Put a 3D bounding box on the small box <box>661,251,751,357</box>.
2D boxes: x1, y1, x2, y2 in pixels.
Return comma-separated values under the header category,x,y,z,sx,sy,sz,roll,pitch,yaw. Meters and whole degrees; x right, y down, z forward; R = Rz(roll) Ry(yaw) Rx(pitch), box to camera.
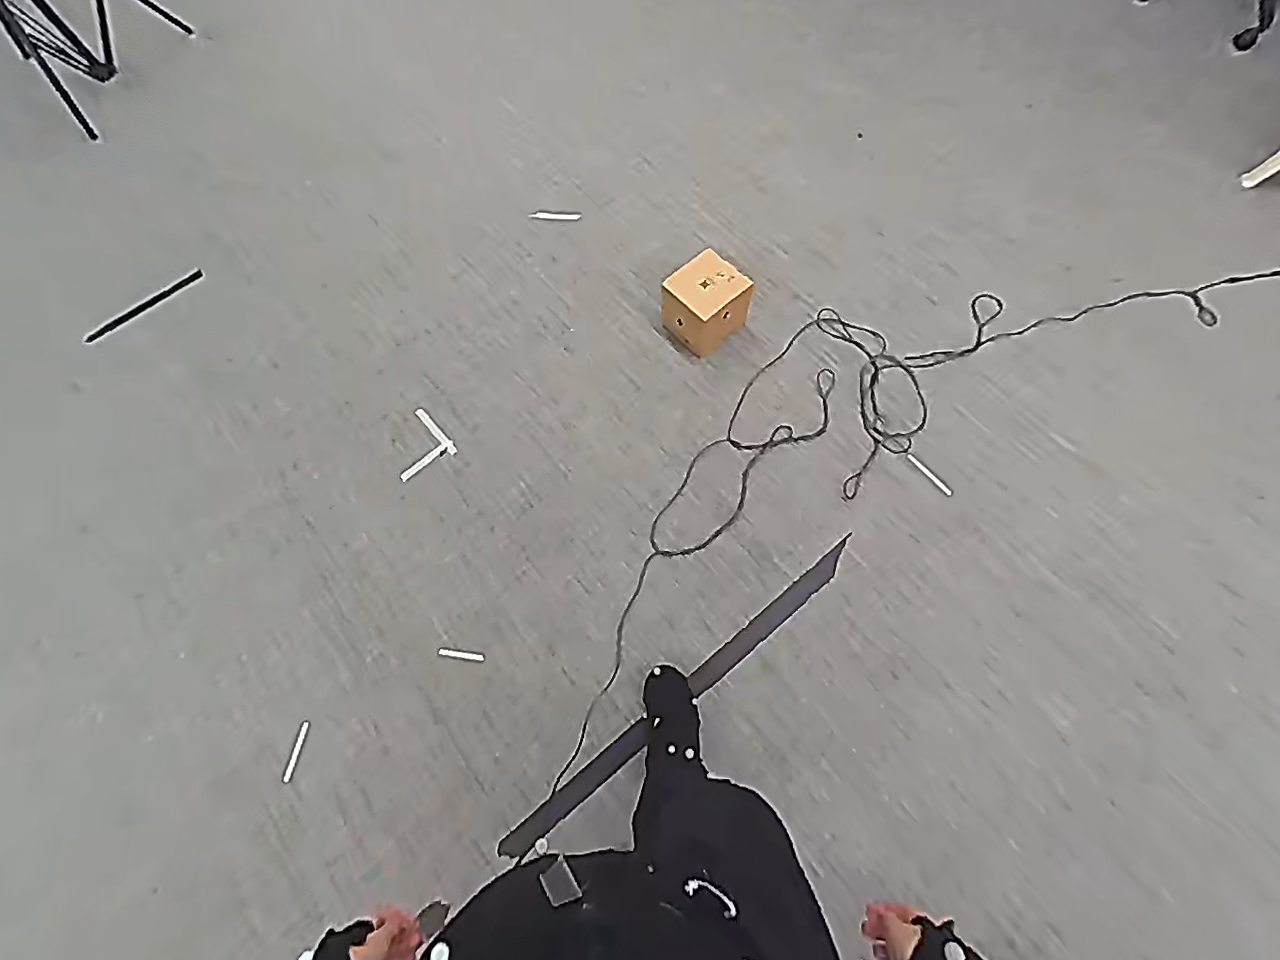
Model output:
category,x,y,z,sx,sy,sz,roll,pitch,yaw
small box,0.174,-0.469,1.463,0.179,0.176,0.168,-40,73,-12
